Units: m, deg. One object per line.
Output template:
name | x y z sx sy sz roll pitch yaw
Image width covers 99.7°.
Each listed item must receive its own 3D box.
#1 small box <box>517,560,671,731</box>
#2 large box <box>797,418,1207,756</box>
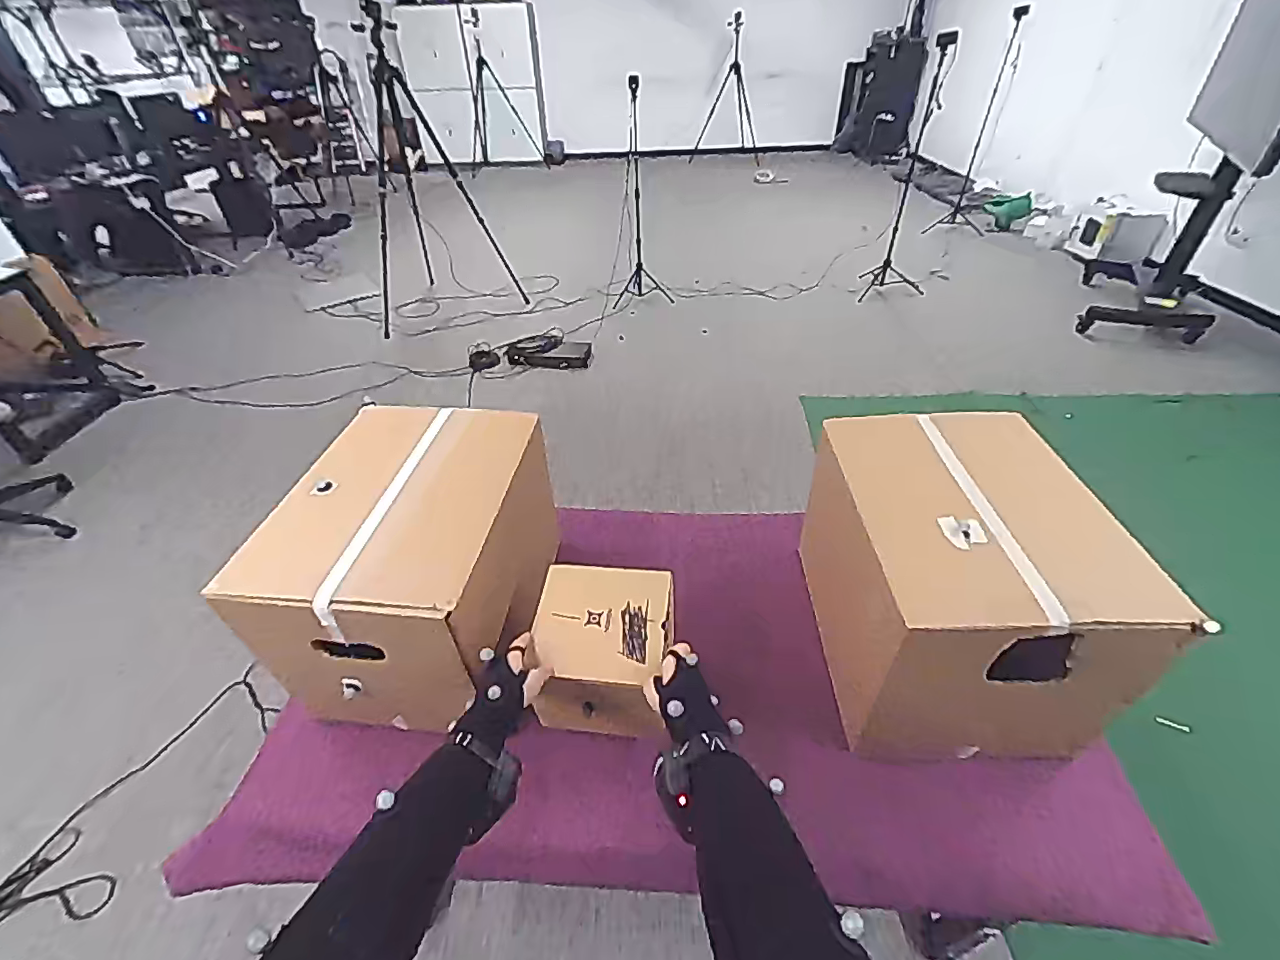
small box | -0.050 0.233 0.754 0.179 0.176 0.168 3 45 8
large box | 0.448 0.145 0.813 0.320 0.320 0.408 -2 40 4
